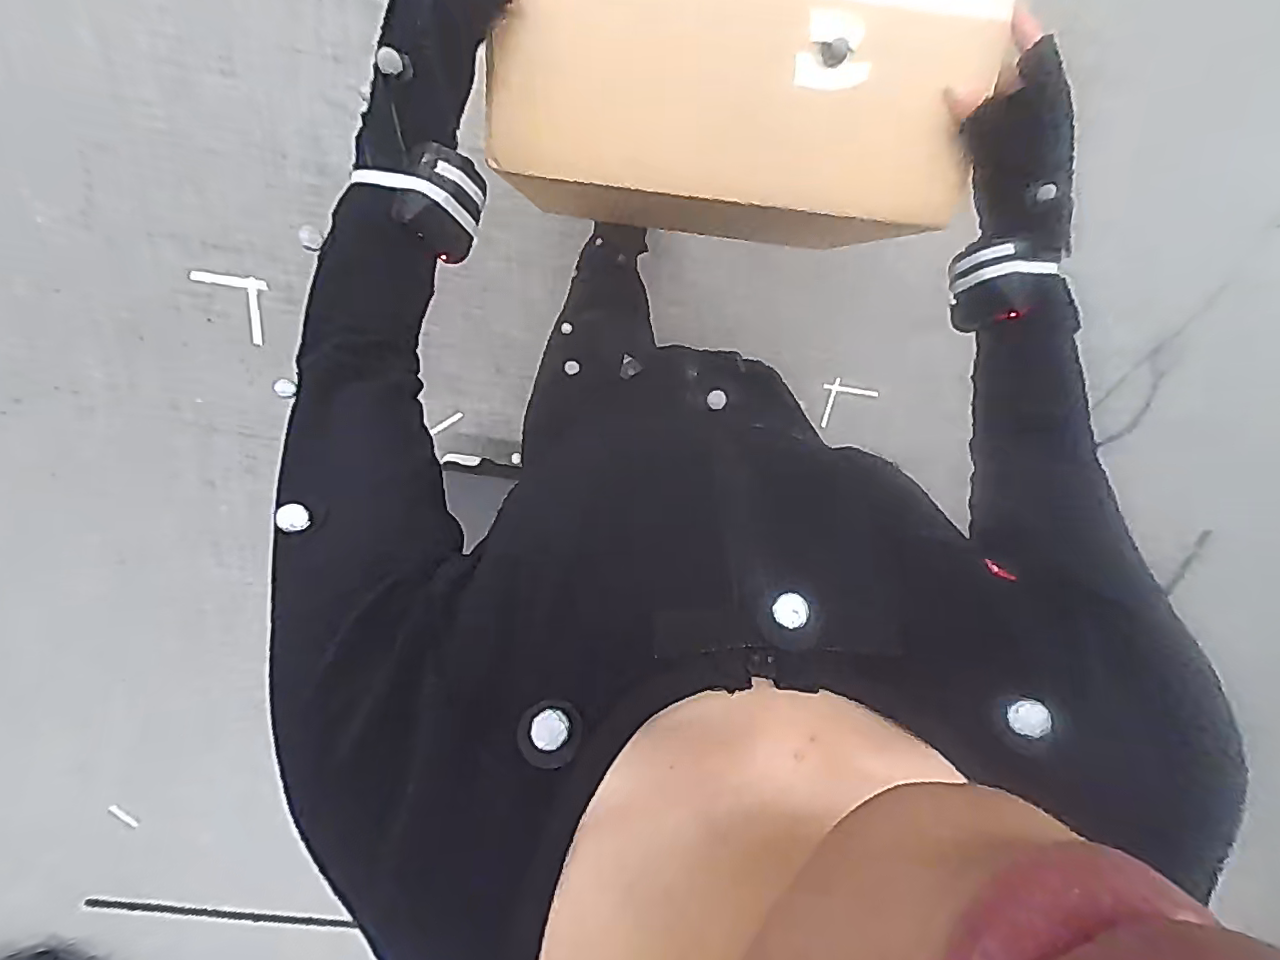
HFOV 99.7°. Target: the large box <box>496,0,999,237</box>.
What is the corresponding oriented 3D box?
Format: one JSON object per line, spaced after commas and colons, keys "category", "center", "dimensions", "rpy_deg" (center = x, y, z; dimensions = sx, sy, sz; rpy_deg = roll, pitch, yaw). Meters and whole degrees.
{"category": "large box", "center": [0.081, -0.448, 0.555], "dimensions": [0.408, 0.320, 0.320], "rpy_deg": [5, 111, -5]}
